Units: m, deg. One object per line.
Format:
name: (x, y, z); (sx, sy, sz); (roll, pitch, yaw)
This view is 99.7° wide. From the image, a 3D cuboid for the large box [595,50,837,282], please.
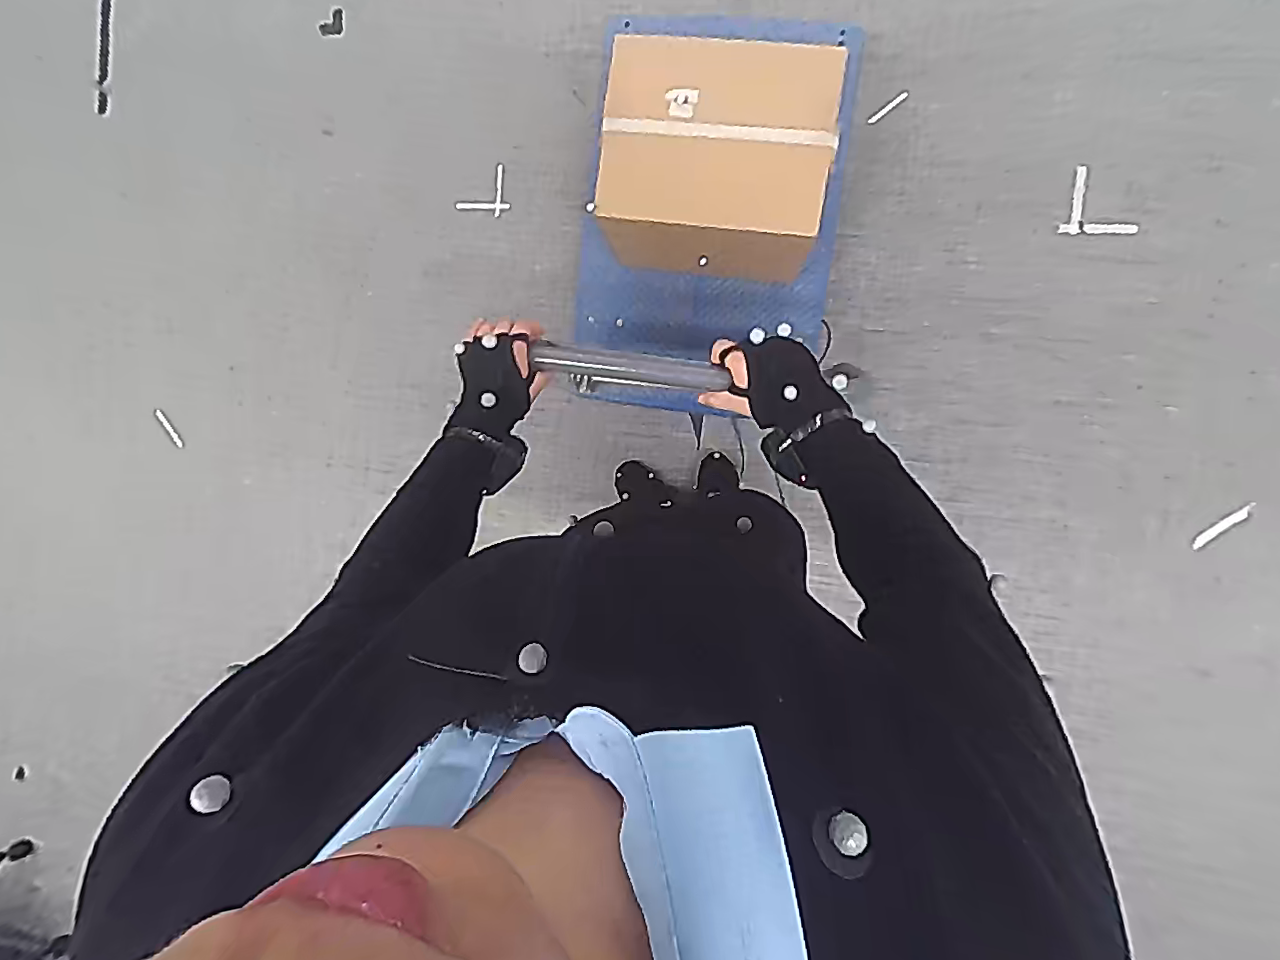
large box: (0.151, -0.616, 1.113); (0.408, 0.320, 0.320); (8, 95, 8)
